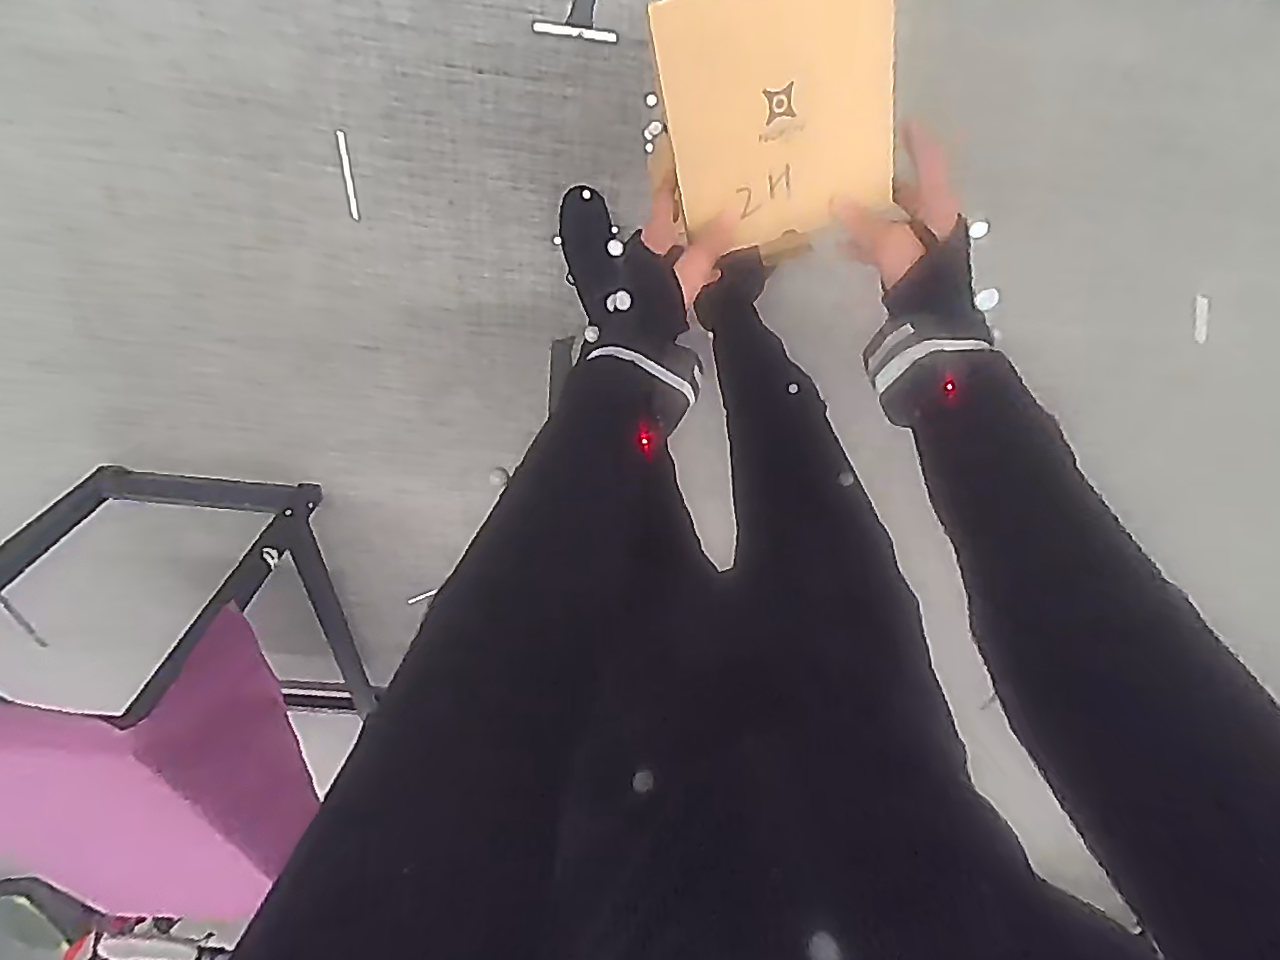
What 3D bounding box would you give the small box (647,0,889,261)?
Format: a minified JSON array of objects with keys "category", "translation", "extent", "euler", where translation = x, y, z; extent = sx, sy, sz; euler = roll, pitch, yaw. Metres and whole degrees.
[{"category":"small box","translation":[0.102,-0.322,0.473],"extent":[0.168,0.176,0.179],"euler":[-10,129,9]}]
